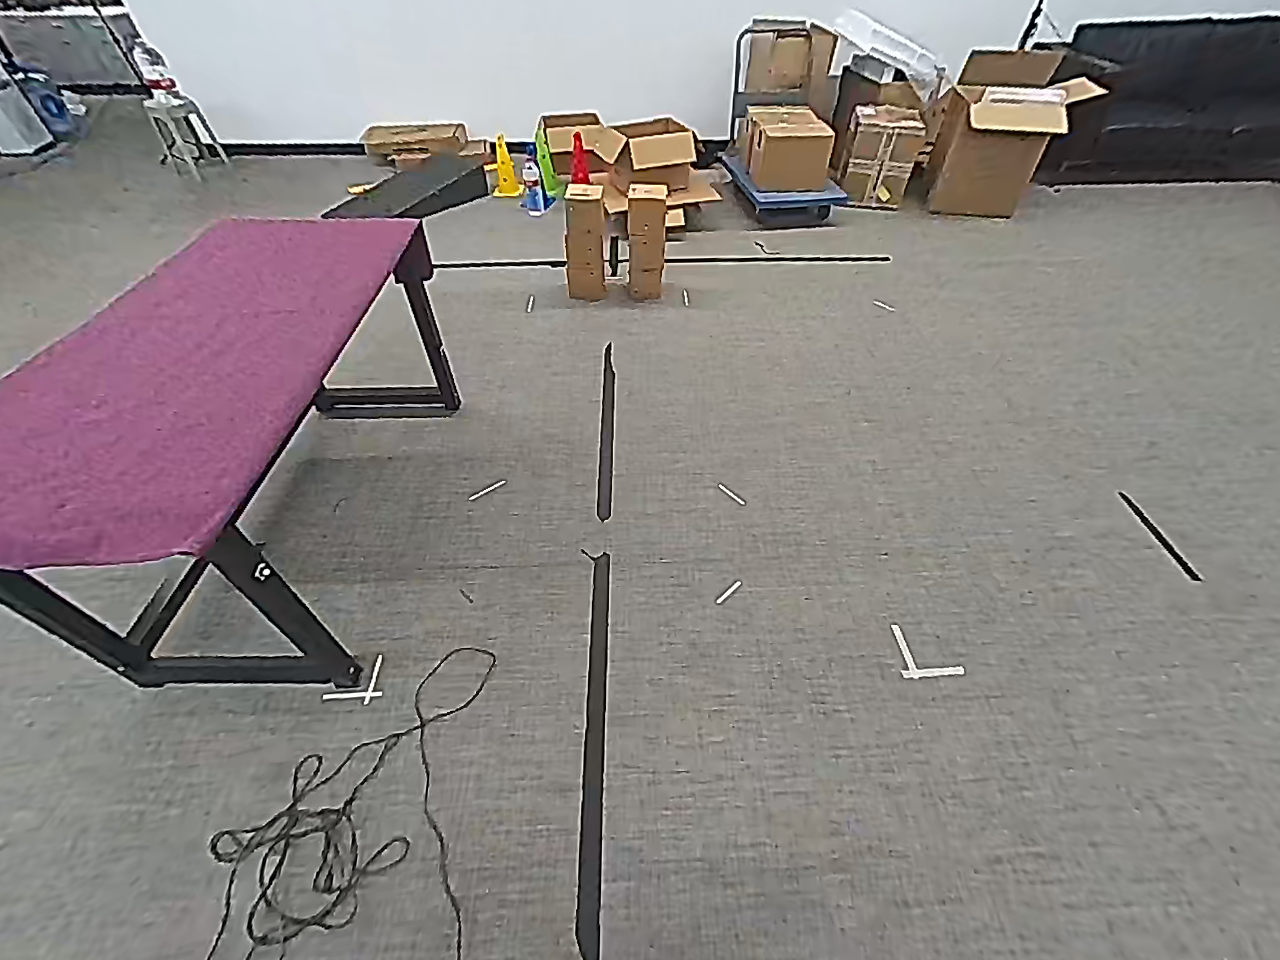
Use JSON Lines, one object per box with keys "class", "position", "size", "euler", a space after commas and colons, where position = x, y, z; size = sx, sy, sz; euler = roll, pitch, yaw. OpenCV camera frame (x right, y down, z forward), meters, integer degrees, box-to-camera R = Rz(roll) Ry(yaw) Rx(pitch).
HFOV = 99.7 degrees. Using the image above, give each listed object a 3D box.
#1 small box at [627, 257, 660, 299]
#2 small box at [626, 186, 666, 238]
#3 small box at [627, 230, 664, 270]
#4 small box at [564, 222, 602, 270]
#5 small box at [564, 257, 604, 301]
{"class": "small box", "position": [0.019, -1.055, 2.804], "size": [0.168, 0.176, 0.179], "euler": [-1, 47, -2]}
{"class": "small box", "position": [0.028, -1.261, 2.547], "size": [0.179, 0.176, 0.168], "euler": [4, 48, 1]}
{"class": "small box", "position": [0.026, -1.153, 2.671], "size": [0.179, 0.176, 0.168], "euler": [1, 48, -1]}
{"class": "small box", "position": [-0.278, -1.155, 2.674], "size": [0.168, 0.176, 0.179], "euler": [3, 46, 0]}
{"class": "small box", "position": [-0.284, -1.039, 2.788], "size": [0.179, 0.176, 0.168], "euler": [3, 47, 2]}
